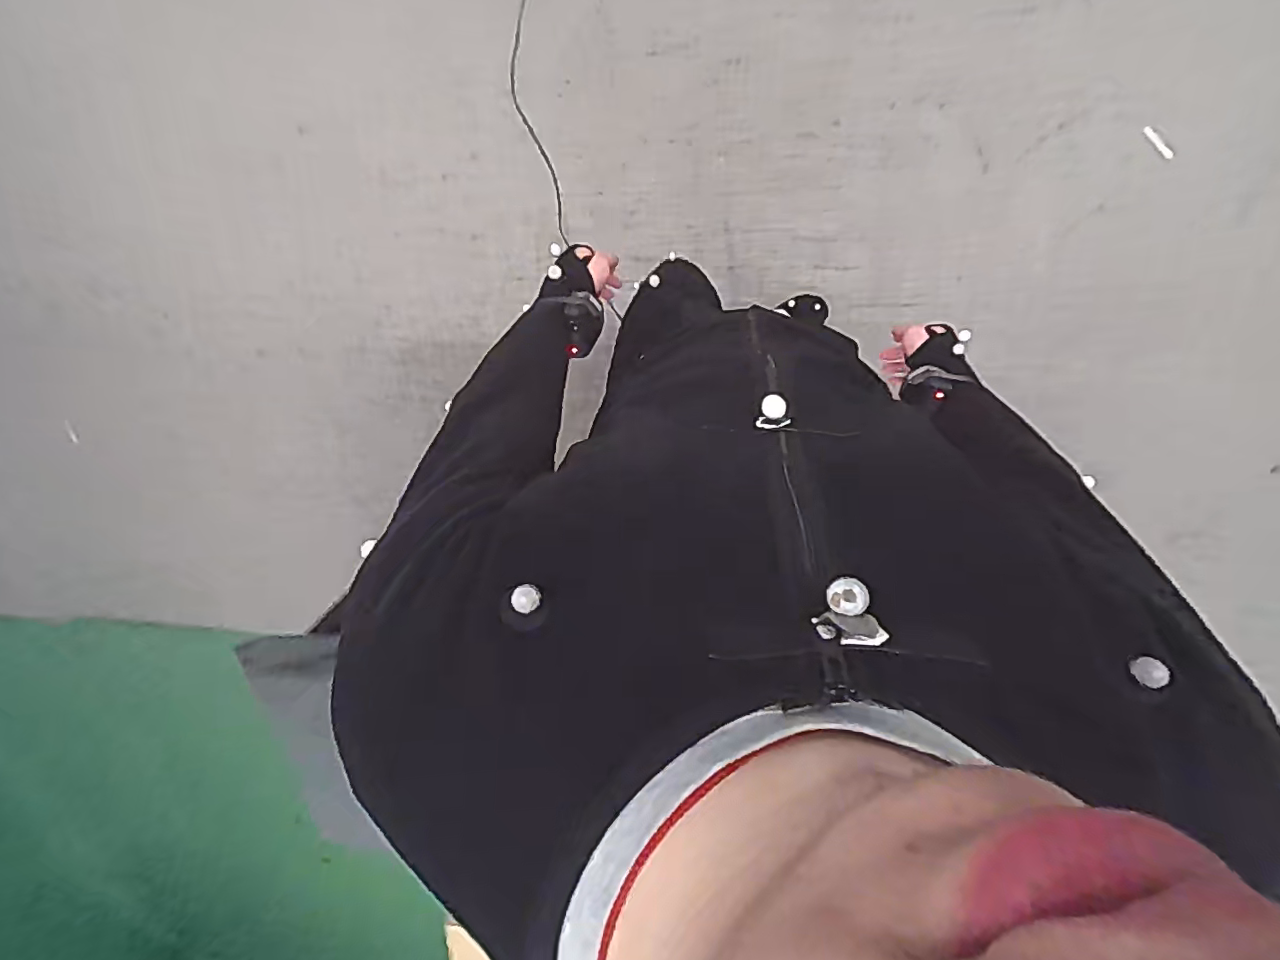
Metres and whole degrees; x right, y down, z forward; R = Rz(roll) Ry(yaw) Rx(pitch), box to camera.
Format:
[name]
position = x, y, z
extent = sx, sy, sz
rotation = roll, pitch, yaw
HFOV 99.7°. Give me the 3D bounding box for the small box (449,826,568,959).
[small box]
position = -0.237, 0.790, 1.016
extent = 0.168, 0.176, 0.179
rotation = 7, 117, 7
